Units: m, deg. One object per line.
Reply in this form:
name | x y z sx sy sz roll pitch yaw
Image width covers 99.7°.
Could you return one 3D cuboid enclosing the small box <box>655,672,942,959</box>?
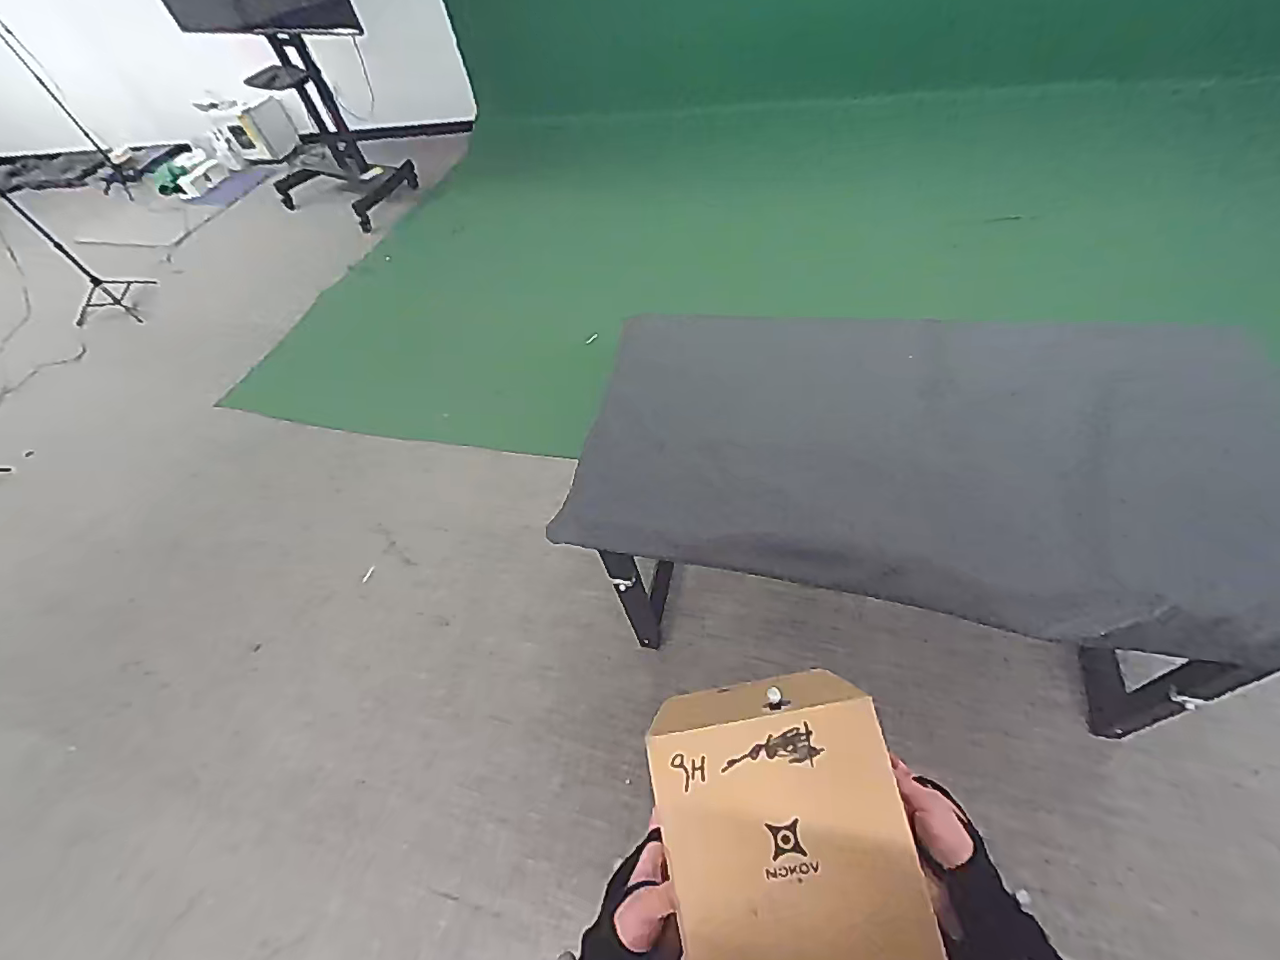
small box | 0.116 0.275 0.452 0.168 0.176 0.179 -12 77 4
